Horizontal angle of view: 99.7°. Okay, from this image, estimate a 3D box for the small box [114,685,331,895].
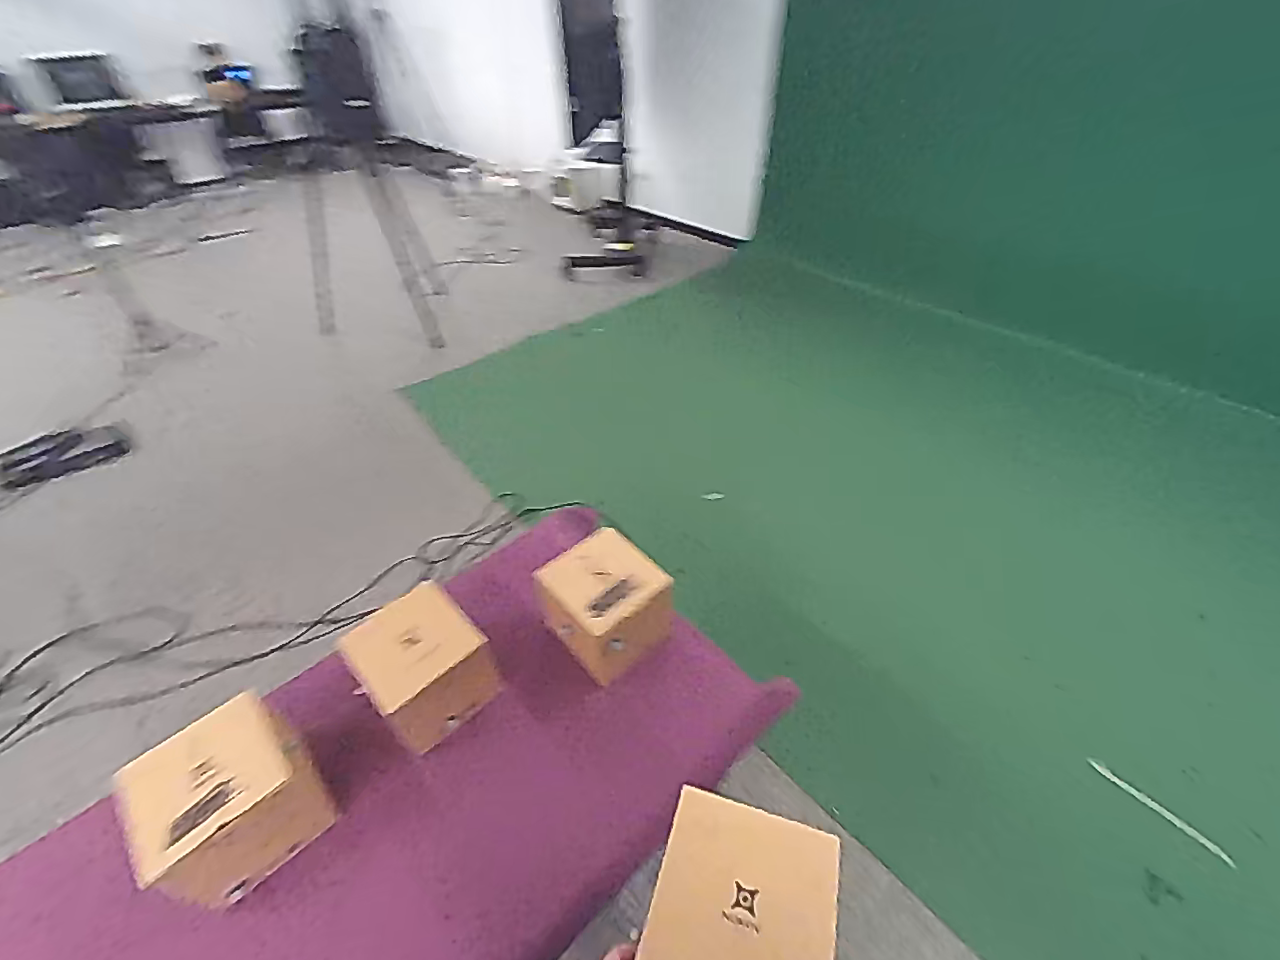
[{"bbox_3d":[-0.570,0.435,0.757,0.168,0.176,0.179,-34,52,-31],"label":"small box"}]

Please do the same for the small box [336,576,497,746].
[{"bbox_3d":[-0.364,0.302,0.901,0.179,0.176,0.168,35,54,30],"label":"small box"}]

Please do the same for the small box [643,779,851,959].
[{"bbox_3d":[0.106,0.454,0.550,0.168,0.176,0.179,12,39,17],"label":"small box"}]
